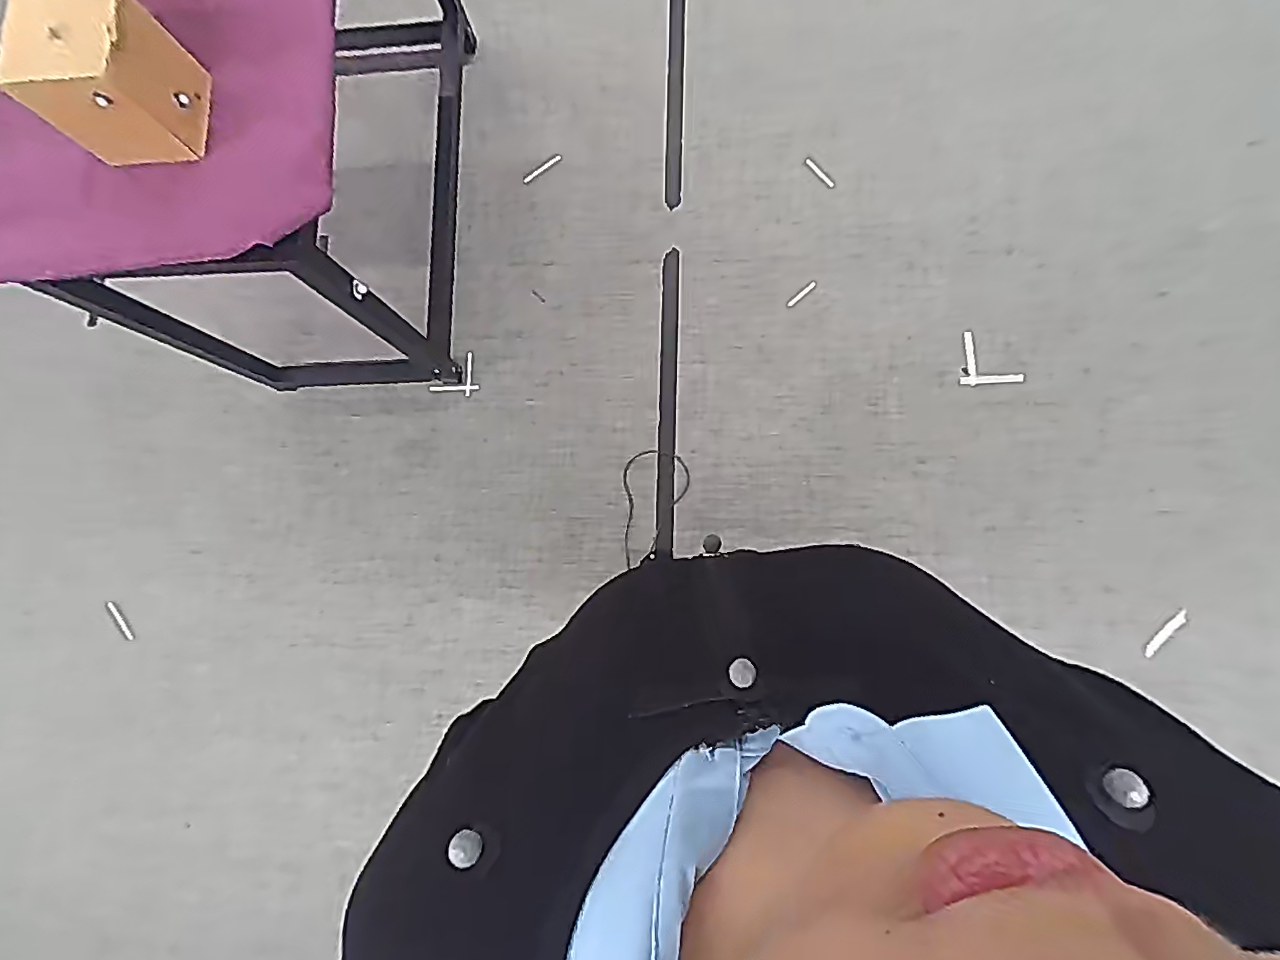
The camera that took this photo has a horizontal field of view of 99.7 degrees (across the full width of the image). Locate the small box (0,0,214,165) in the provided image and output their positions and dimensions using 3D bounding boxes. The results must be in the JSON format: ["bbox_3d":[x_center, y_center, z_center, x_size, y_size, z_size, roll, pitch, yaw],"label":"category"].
[{"bbox_3d":[-0.851,-0.644,0.879,0.179,0.176,0.168,-2,81,3],"label":"small box"}]
